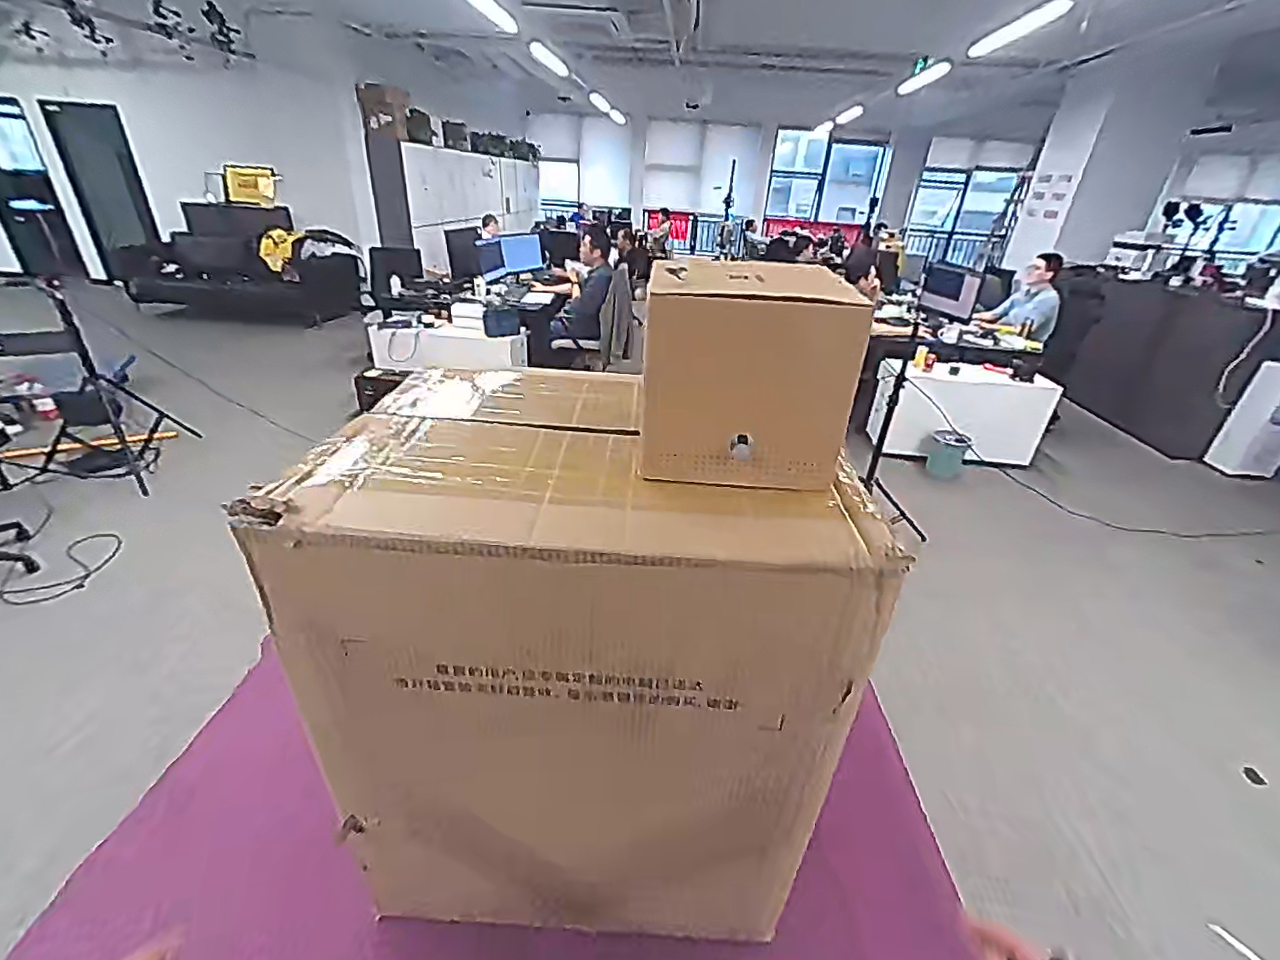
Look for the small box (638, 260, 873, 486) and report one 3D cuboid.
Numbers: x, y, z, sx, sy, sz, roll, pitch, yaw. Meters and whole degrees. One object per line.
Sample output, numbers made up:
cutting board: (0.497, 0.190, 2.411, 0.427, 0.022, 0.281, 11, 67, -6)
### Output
small box: (0.094, -0.107, 0.524, 0.179, 0.176, 0.168, 4, 29, 1)
